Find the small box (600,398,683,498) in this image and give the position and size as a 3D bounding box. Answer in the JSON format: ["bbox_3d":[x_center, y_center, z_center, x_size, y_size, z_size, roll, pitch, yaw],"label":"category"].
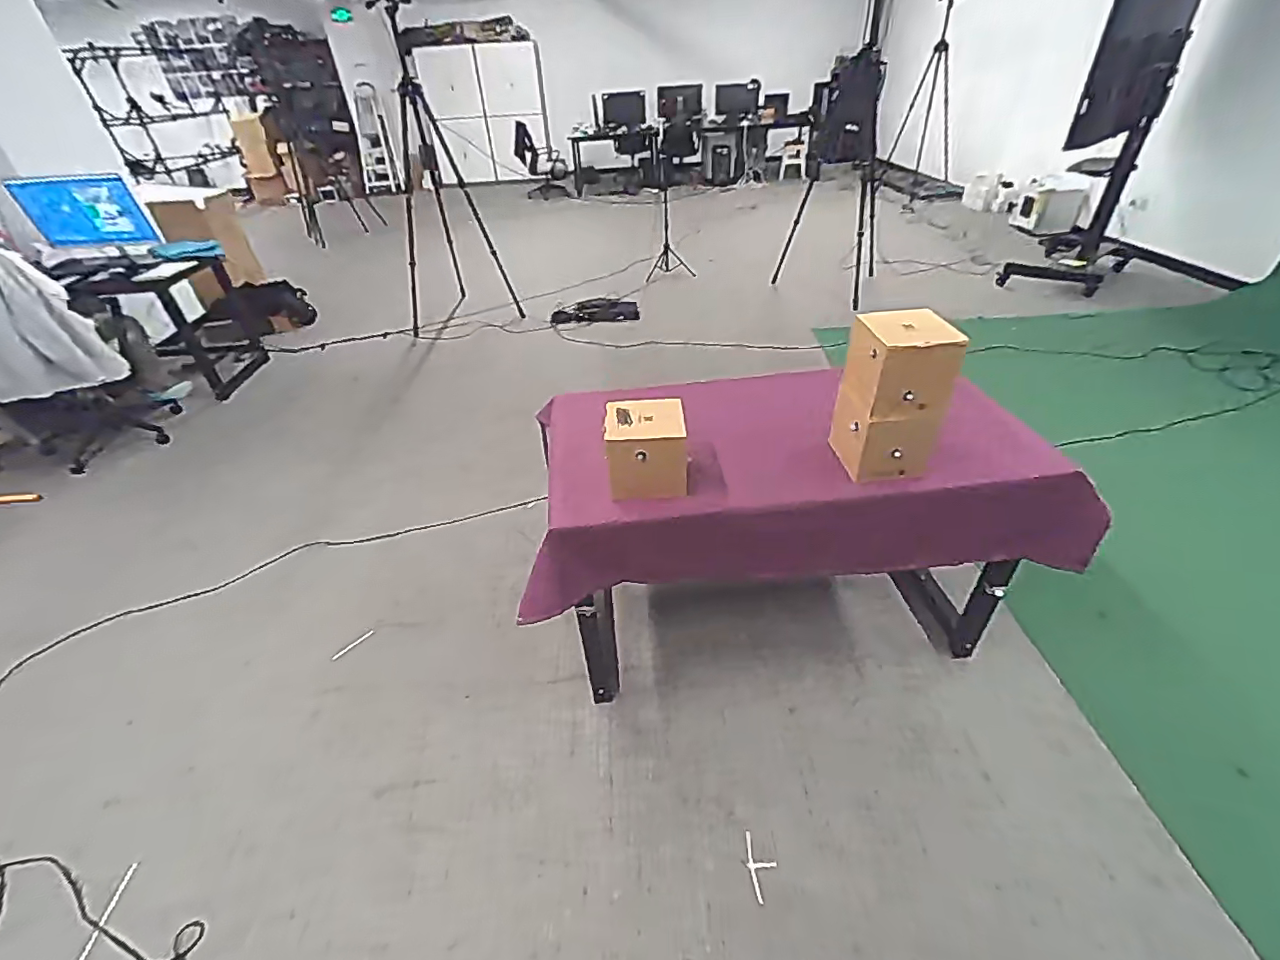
[{"bbox_3d":[0.006,-0.072,1.243,0.179,0.176,0.168,-3,38,0],"label":"small box"}]

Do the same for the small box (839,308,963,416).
[{"bbox_3d":[0.546,-0.255,1.163,0.168,0.176,0.179,-5,39,-1],"label":"small box"}]

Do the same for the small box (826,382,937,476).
[{"bbox_3d":[0.551,-0.121,1.257,0.168,0.176,0.179,-5,38,-2],"label":"small box"}]
